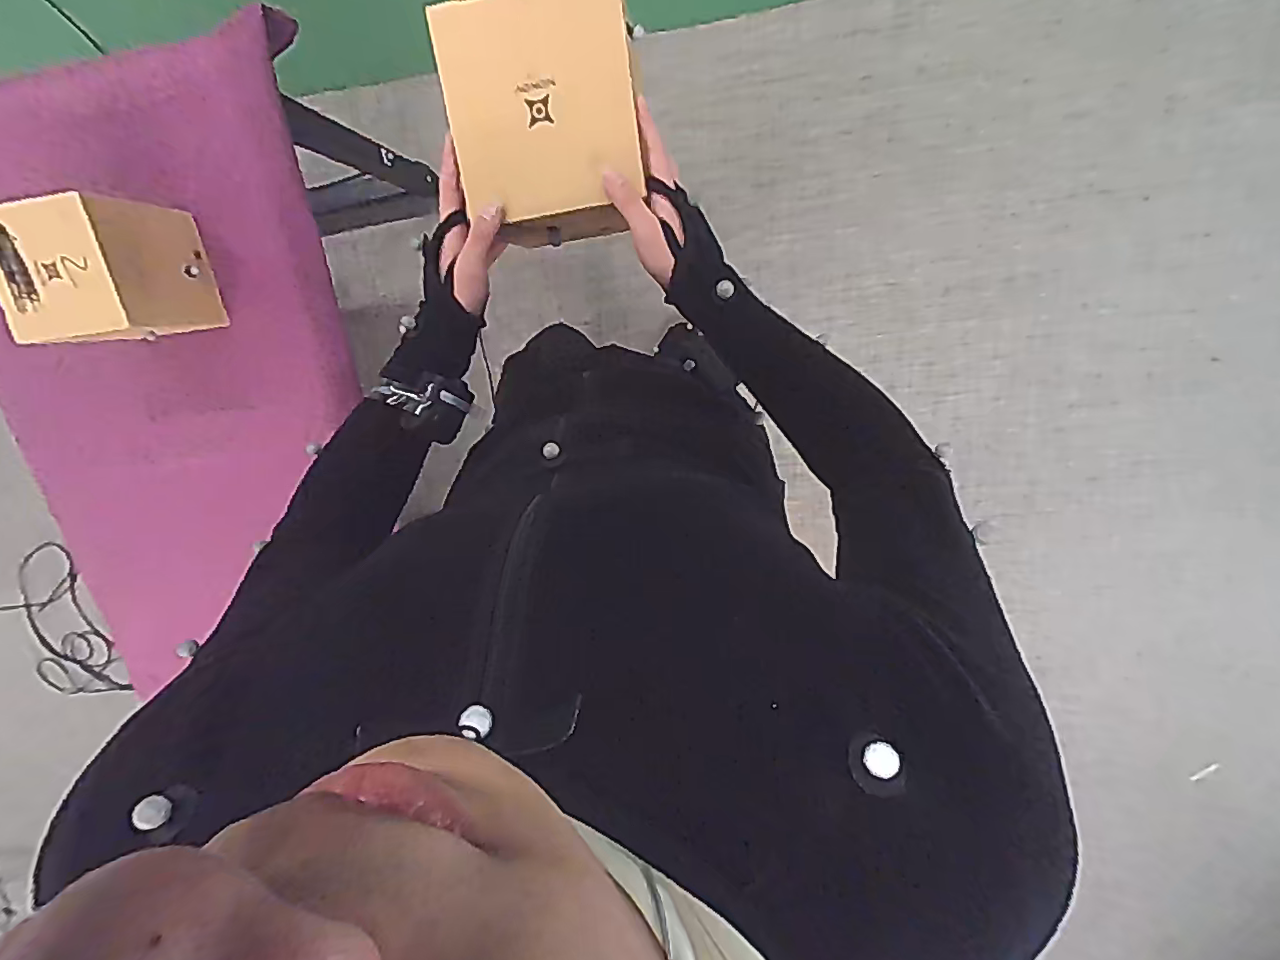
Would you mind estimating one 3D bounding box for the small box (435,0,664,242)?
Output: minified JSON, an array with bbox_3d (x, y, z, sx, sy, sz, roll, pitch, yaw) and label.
[{"bbox_3d":[-0.070,-0.343,0.535,0.168,0.176,0.179,-7,106,8],"label":"small box"}]
